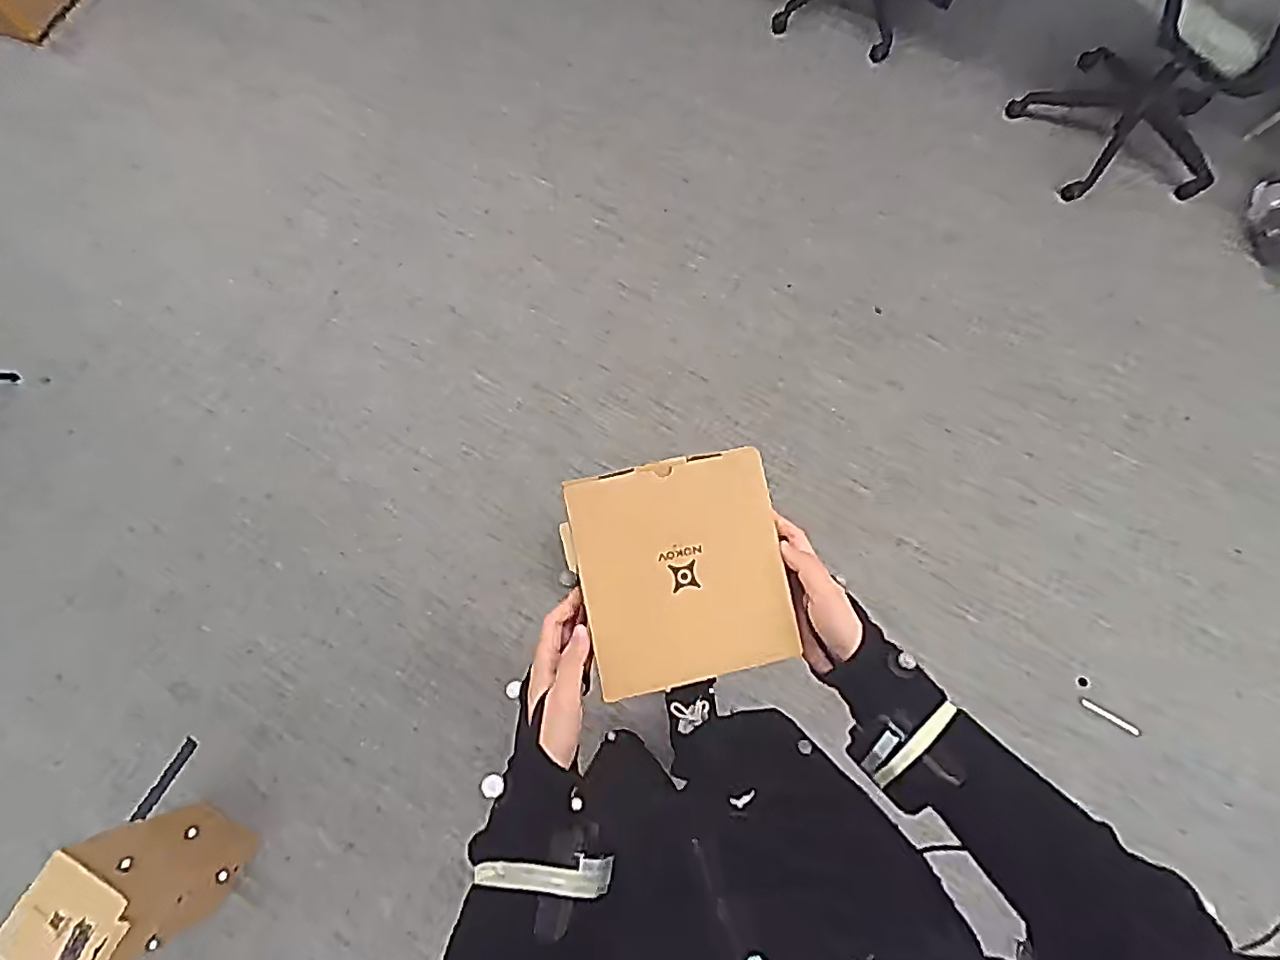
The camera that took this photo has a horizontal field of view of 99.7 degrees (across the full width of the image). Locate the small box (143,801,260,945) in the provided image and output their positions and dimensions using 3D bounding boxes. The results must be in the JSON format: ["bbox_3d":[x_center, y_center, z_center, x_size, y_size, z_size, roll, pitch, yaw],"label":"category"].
[{"bbox_3d":[-0.971,0.818,1.151,0.179,0.176,0.168,25,74,9],"label":"small box"}]

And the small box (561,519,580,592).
[{"bbox_3d":[-0.089,0.181,1.332,0.168,0.176,0.179,-15,74,-5],"label":"small box"}]

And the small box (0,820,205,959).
[{"bbox_3d":[-0.969,0.767,0.994,0.179,0.176,0.168,26,75,8],"label":"small box"}]

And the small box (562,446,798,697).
[{"bbox_3d":[0.026,0.077,0.511,0.168,0.176,0.179,-11,85,-7],"label":"small box"}]
